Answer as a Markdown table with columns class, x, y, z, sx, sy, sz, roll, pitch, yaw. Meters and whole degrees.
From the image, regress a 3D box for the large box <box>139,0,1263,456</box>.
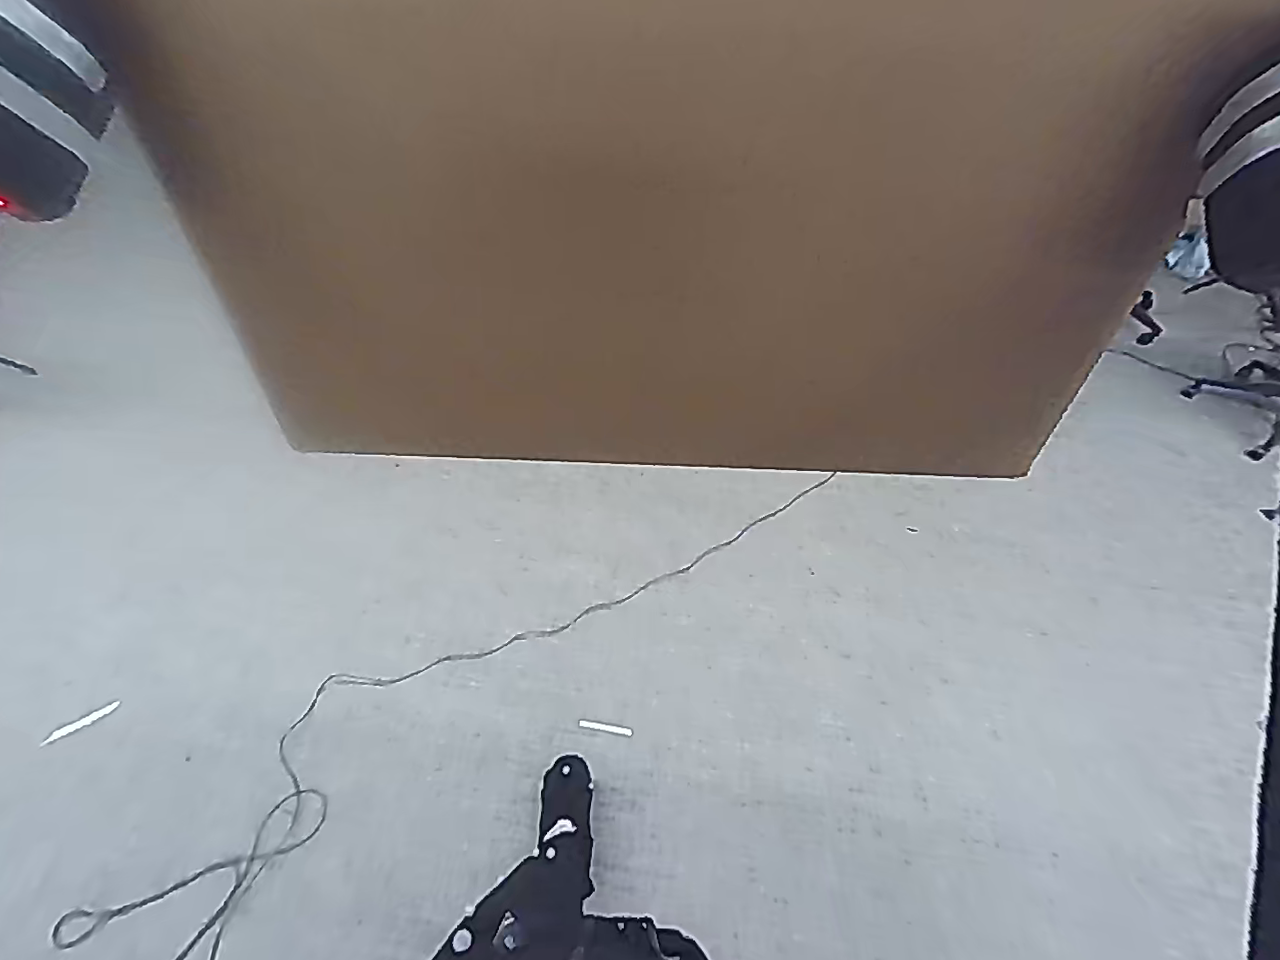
| class | x | y | z | sx | sy | sz | roll | pitch | yaw |
| --- | --- | --- | --- | --- | --- | --- | --- | --- | --- |
| large box | 0.019 | -0.227 | 0.329 | 0.408 | 0.320 | 0.320 | 3 | 41 | -1 |
